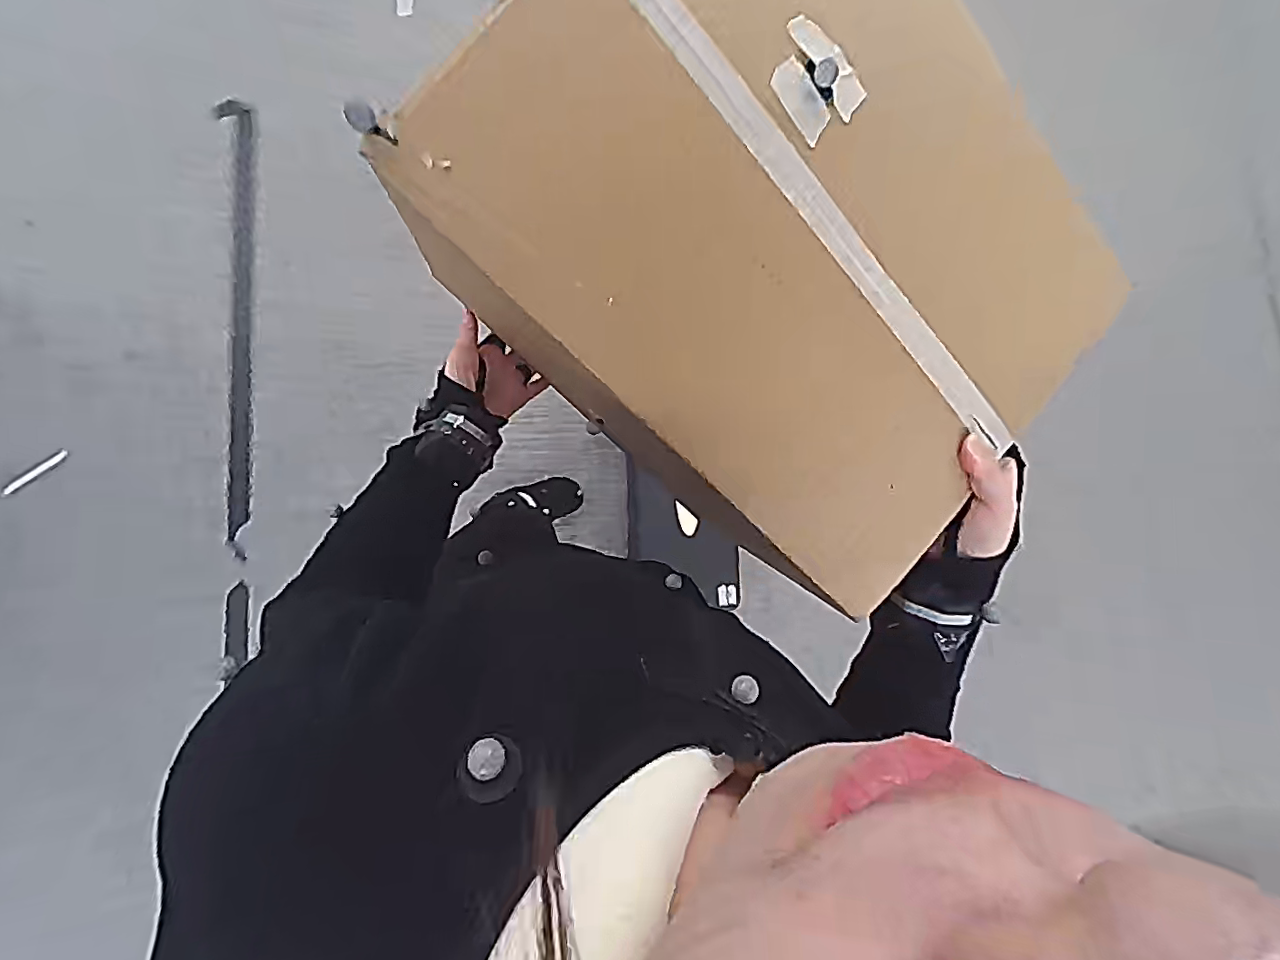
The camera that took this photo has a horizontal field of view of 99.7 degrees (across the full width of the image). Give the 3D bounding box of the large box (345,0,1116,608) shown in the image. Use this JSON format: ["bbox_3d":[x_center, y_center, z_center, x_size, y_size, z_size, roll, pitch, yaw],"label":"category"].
[{"bbox_3d":[0.062,-0.168,0.461,0.408,0.320,0.320,40,87,-18],"label":"large box"}]
